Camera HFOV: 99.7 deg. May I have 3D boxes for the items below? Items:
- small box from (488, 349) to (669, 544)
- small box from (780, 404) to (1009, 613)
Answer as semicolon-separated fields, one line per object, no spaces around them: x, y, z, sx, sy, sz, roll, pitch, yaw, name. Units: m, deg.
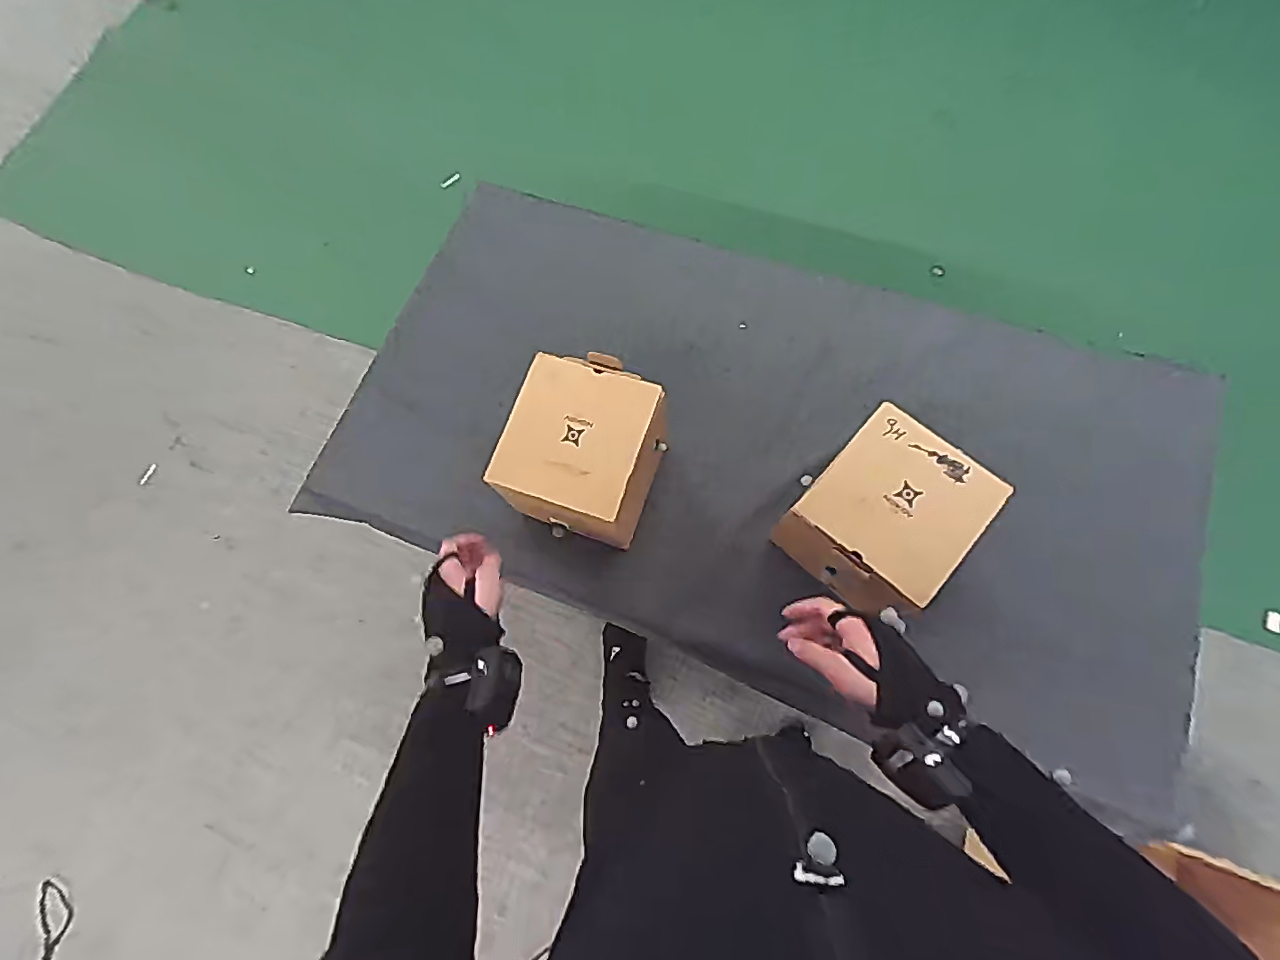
-0.066;-0.035;0.701;0.168;0.176;0.179;17;75;10;small box
0.291;0.047;0.666;0.168;0.176;0.179;41;80;15;small box
